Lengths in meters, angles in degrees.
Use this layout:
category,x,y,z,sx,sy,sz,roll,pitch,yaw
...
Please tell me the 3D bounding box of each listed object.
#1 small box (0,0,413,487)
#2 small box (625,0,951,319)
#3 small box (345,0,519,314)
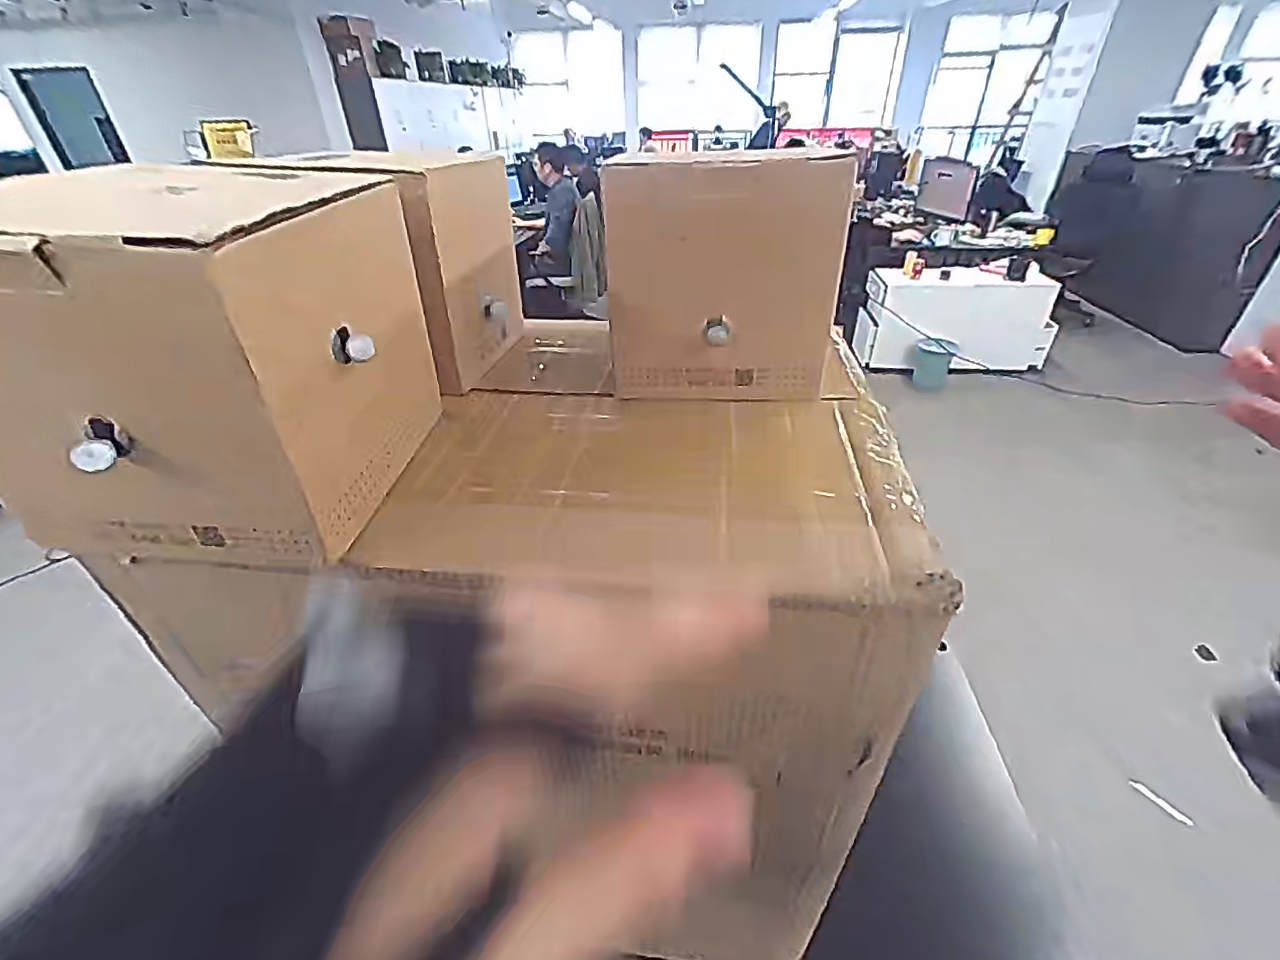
category,x,y,z,sx,sy,sz,roll,pitch,yaw
small box,-0.219,-0.112,0.232,0.168,0.176,0.179,3,38,0
small box,0.082,-0.221,0.381,0.168,0.176,0.179,1,33,6
small box,-0.204,-0.229,0.401,0.179,0.176,0.168,5,34,6
